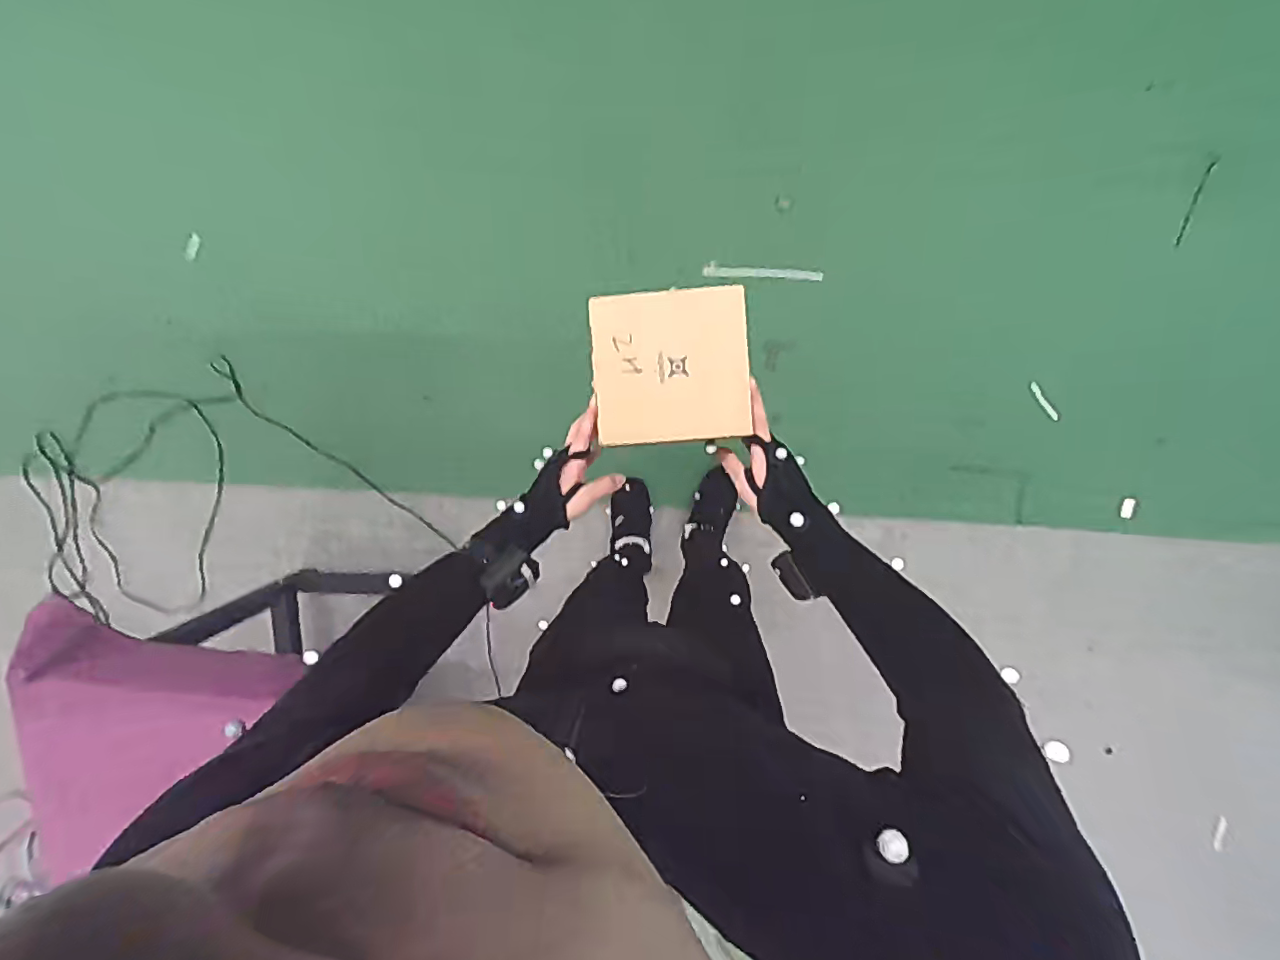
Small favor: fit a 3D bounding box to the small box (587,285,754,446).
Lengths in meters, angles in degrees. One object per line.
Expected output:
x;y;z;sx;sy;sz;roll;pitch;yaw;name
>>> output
0.036;-0.130;0.665;0.179;0.176;0.168;-4;93;3;small box
